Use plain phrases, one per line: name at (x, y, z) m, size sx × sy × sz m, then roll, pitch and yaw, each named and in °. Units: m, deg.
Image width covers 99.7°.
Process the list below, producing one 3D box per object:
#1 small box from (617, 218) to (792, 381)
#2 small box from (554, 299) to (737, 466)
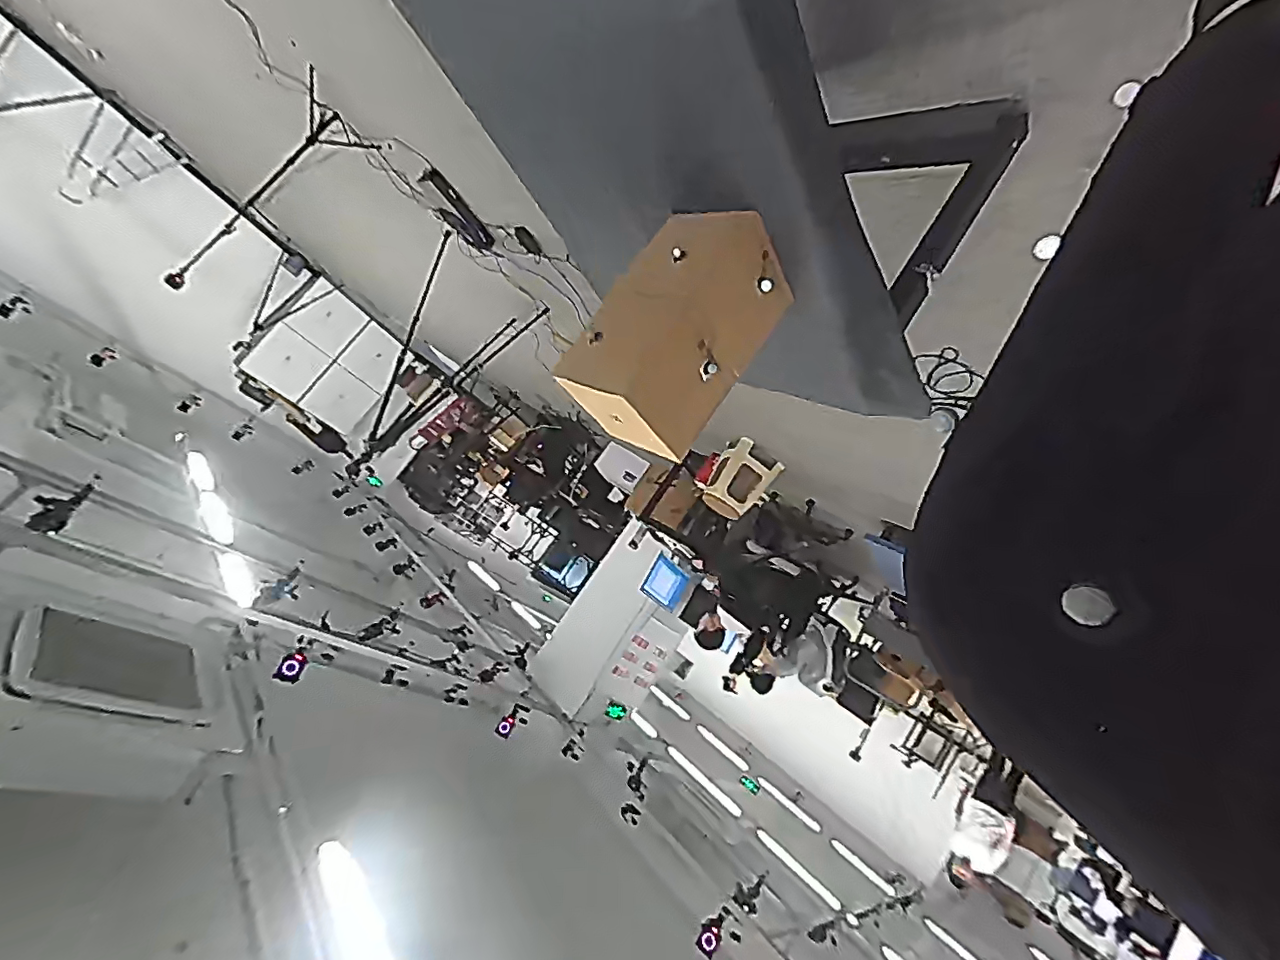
small box at (0.104, -0.283, 0.844) m, size 0.179 × 0.176 × 0.168 m, roll 24°, pitch 165°, yaw 45°
small box at (0.012, -0.152, 0.814) m, size 0.179 × 0.176 × 0.168 m, roll 23°, pitch 166°, yaw 45°
